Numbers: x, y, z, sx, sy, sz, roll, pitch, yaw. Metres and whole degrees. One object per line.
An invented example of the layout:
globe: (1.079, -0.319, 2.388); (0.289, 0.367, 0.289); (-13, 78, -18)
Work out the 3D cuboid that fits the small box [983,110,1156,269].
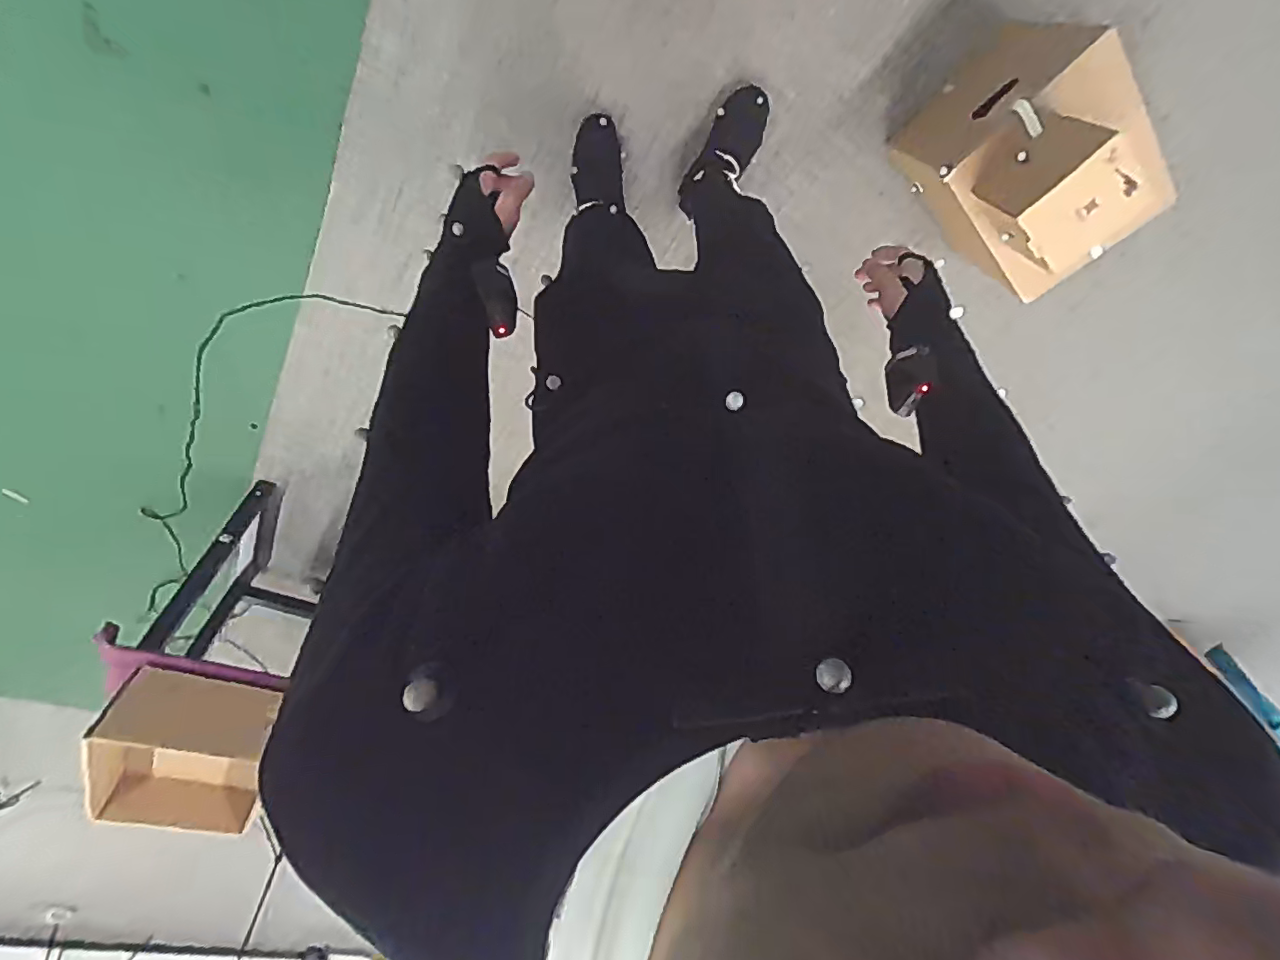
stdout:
small box: (0.776, -0.537, 1.000); (0.168, 0.176, 0.179); (31, 125, -27)
